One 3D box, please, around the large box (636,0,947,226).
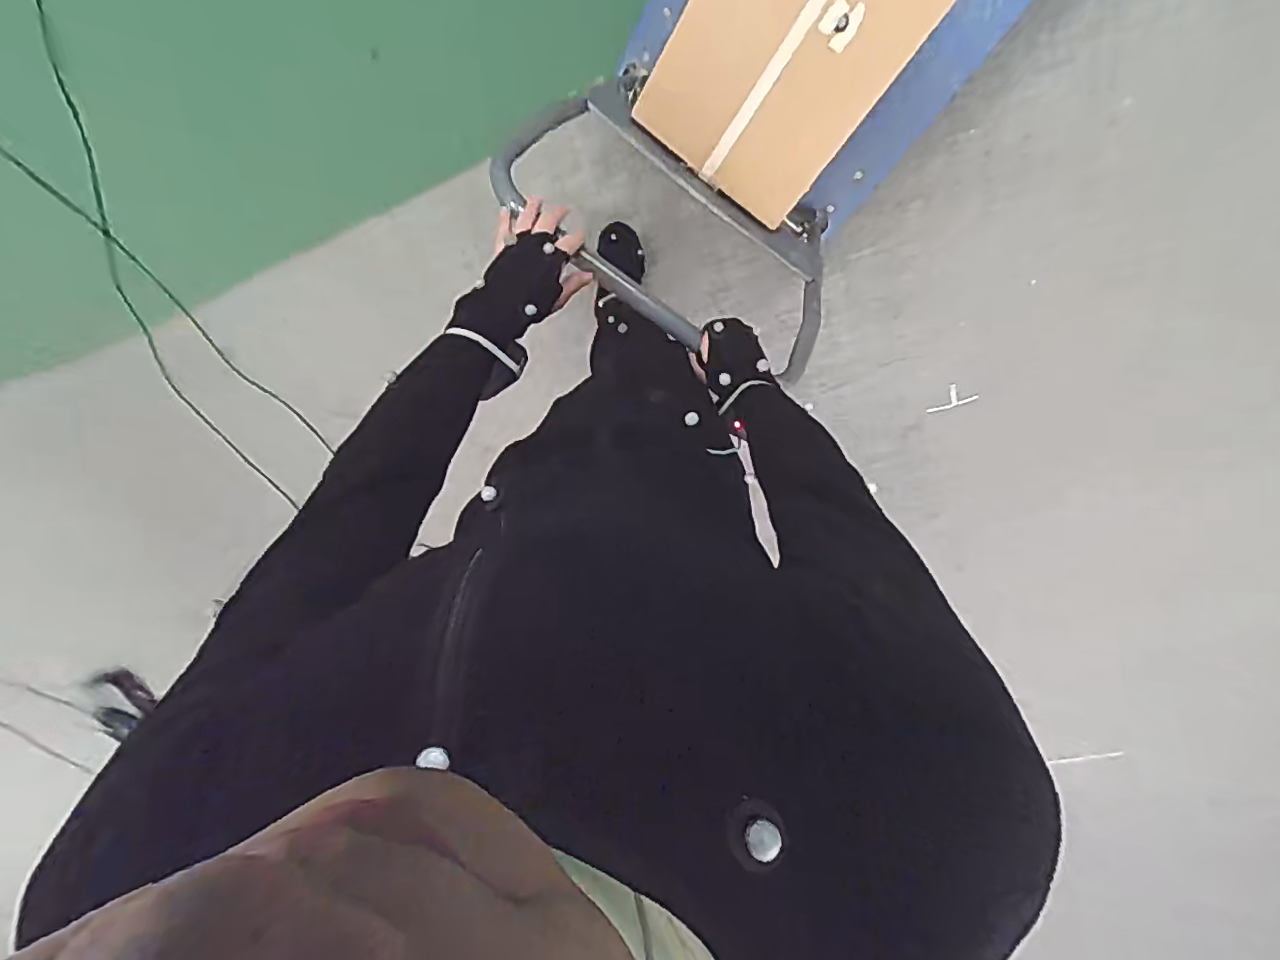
[{"bbox_3d":[0.250,-0.738,0.940,0.320,0.320,0.408,33,128,-11],"label":"large box"}]
